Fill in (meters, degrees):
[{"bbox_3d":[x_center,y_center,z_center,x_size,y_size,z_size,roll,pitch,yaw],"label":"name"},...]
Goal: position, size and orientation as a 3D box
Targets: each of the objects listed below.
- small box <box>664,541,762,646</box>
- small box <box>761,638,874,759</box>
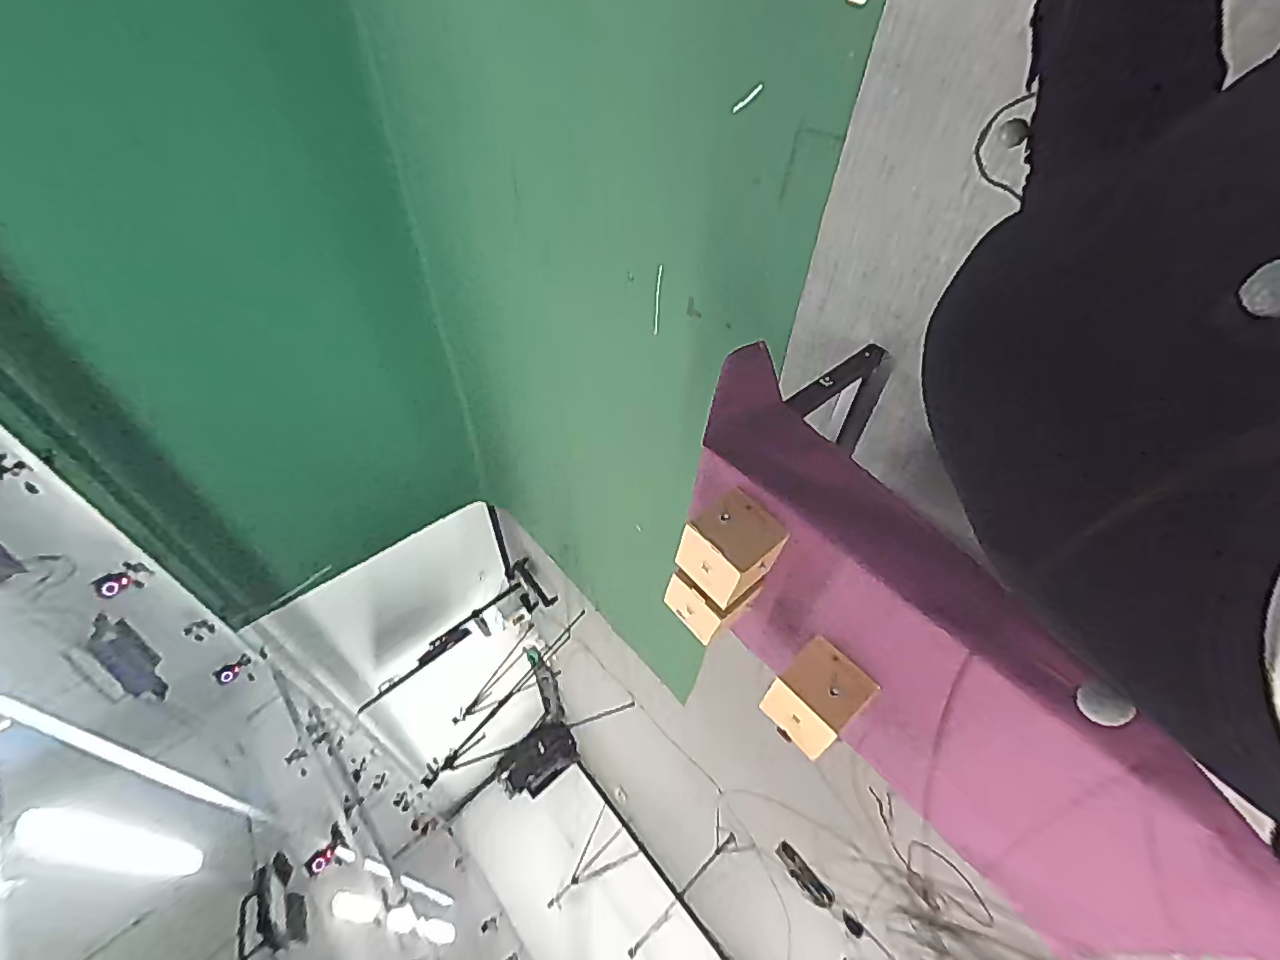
[{"bbox_3d":[0.189,0.290,1.400,0.168,0.176,0.179,45,149,22],"label":"small box"},{"bbox_3d":[0.414,0.504,1.261,0.168,0.176,0.179,41,148,28],"label":"small box"}]
